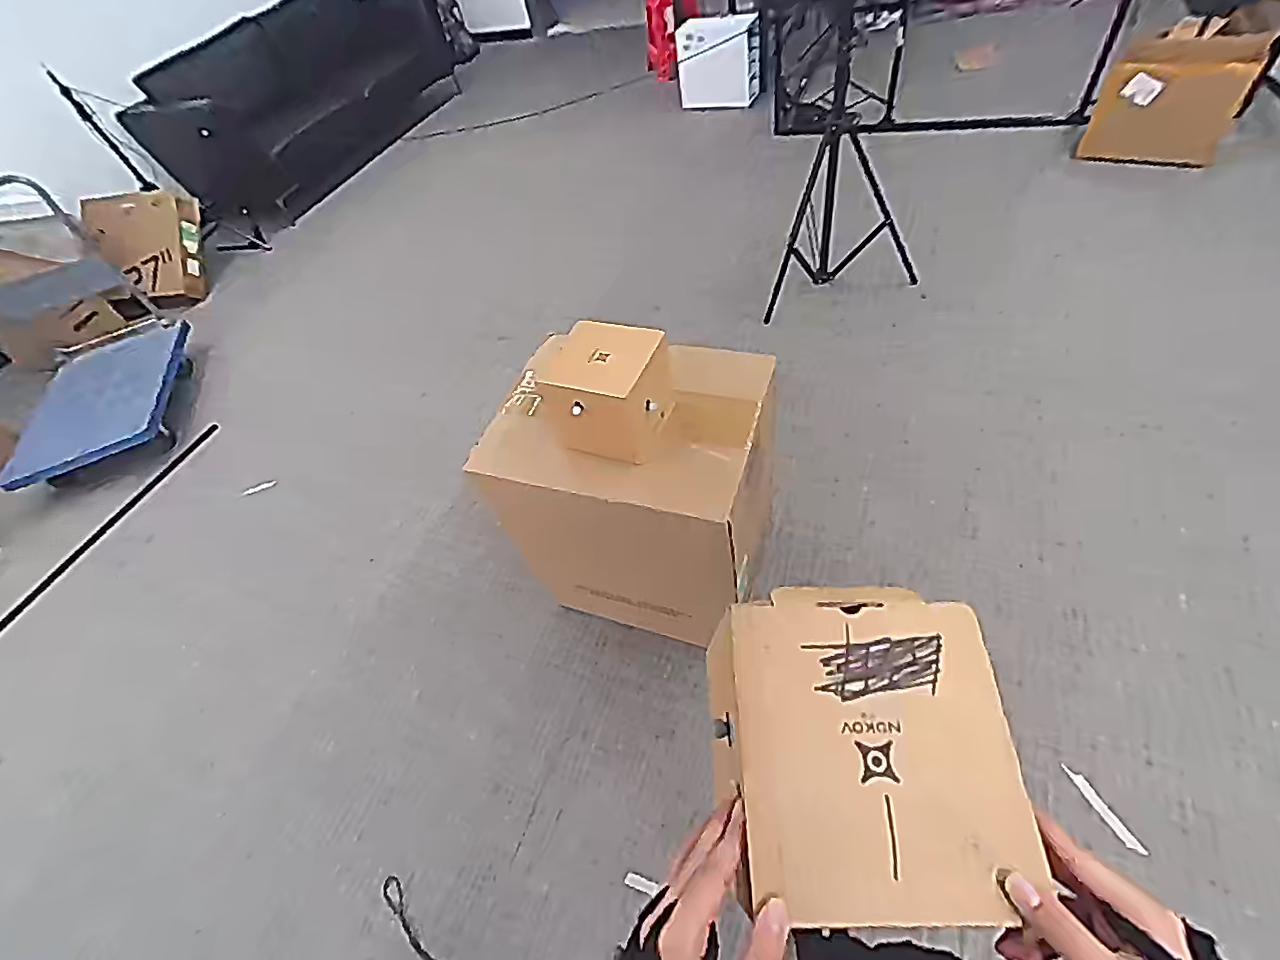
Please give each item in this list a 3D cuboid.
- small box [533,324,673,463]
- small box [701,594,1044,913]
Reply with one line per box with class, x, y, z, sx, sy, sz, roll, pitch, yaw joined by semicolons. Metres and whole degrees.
small box;-0.054;-0.150;0.962;0.179;0.176;0.168;14;58;23
small box;0.137;0.193;0.401;0.168;0.176;0.179;-1;62;1
